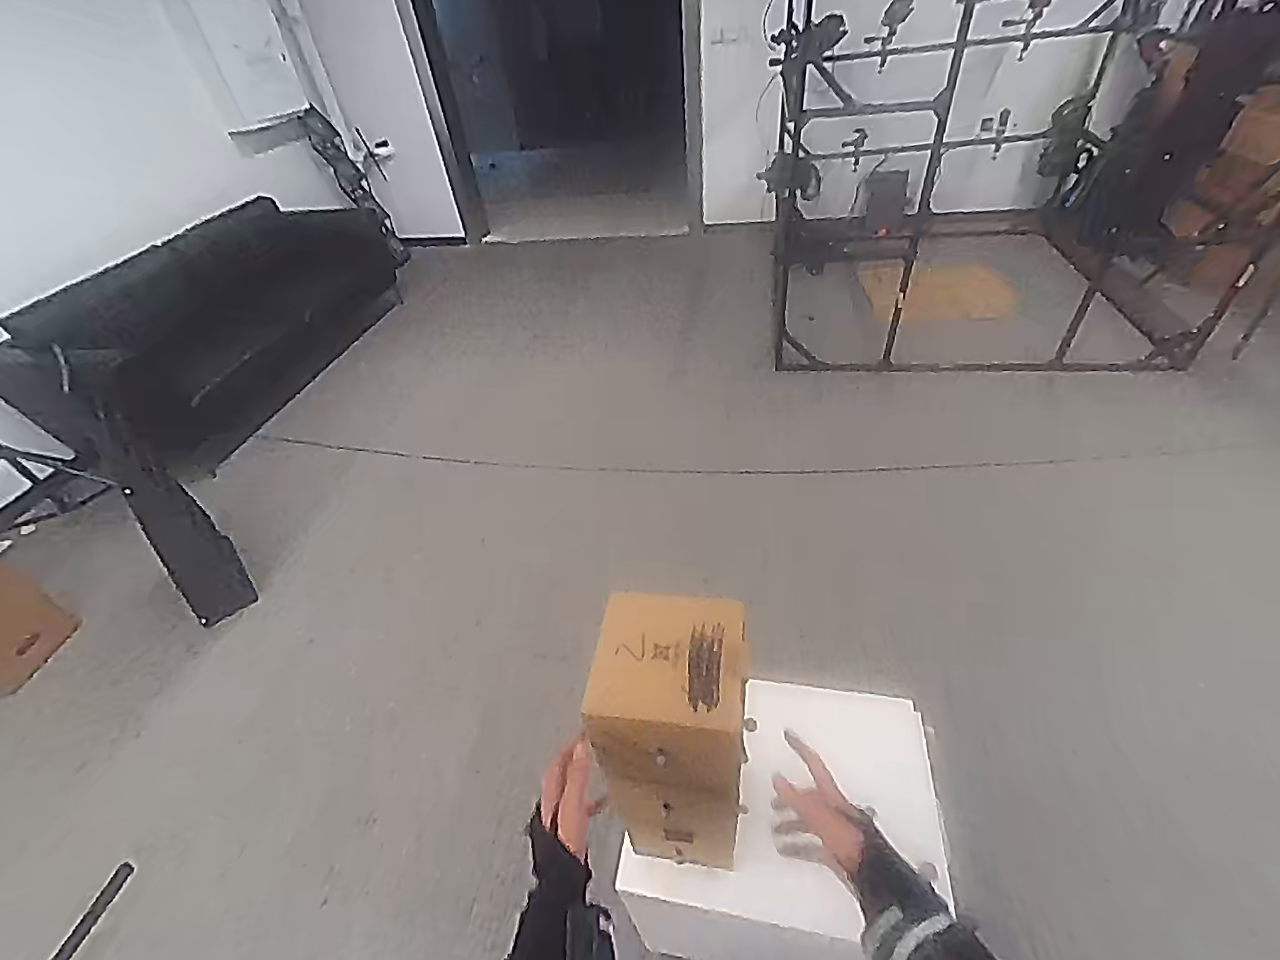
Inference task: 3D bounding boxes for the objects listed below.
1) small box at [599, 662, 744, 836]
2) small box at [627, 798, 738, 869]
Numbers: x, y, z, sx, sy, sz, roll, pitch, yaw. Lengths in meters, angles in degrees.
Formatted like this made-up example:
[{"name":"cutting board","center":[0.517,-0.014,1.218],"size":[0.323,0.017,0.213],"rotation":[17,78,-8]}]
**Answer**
[{"name":"small box","center":[0.055,0.388,0.779],"size":[0.179,0.176,0.168],"rotation":[2,42,12]},{"name":"small box","center":[0.076,0.506,0.893],"size":[0.168,0.176,0.179],"rotation":[2,43,12]}]
